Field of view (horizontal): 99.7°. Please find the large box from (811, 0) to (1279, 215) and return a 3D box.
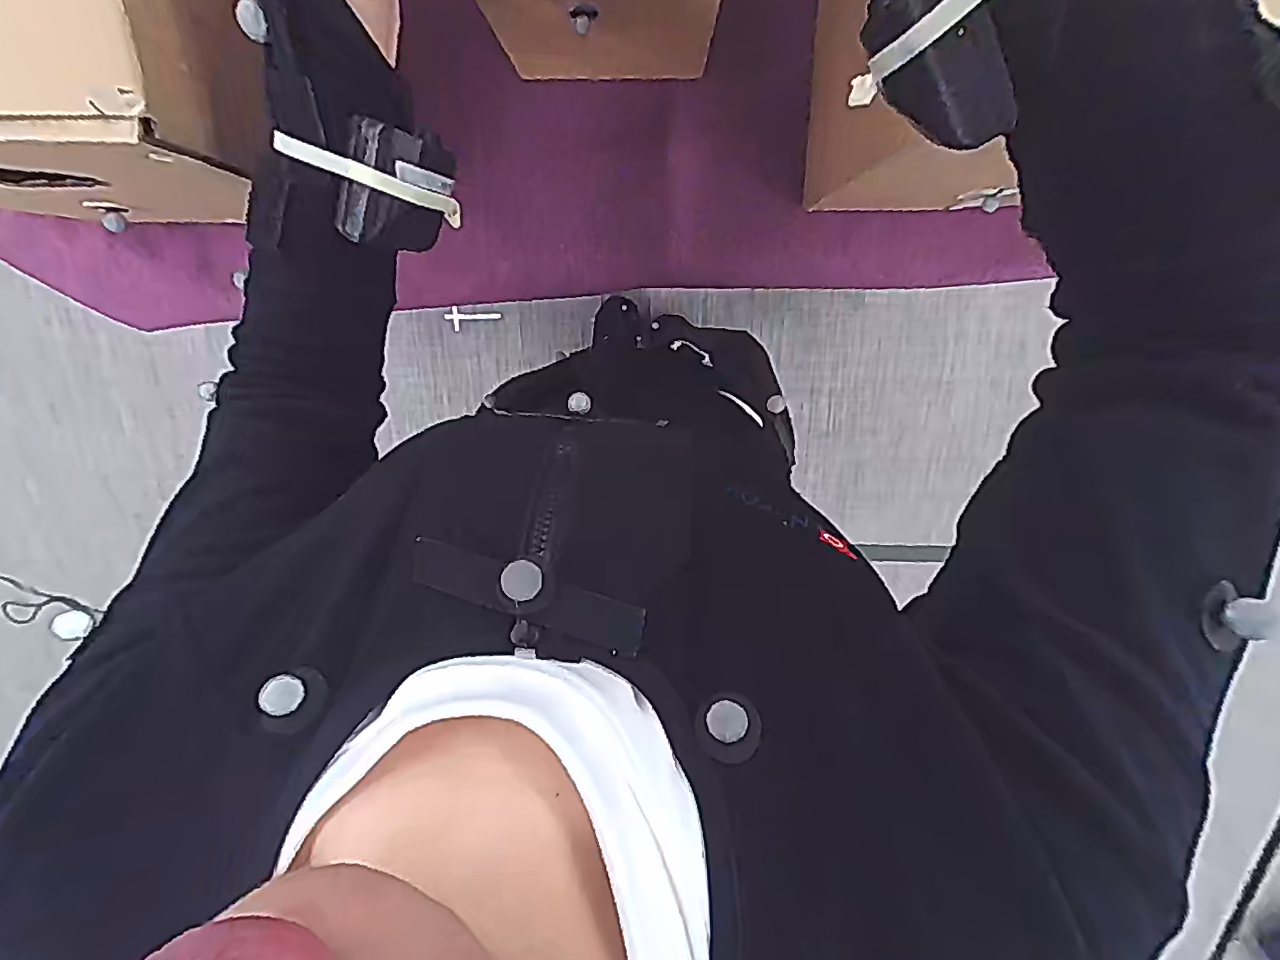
[{"bbox_3d":[0.306,-0.415,0.334,0.320,0.320,0.408,-1,106,1],"label":"large box"}]
